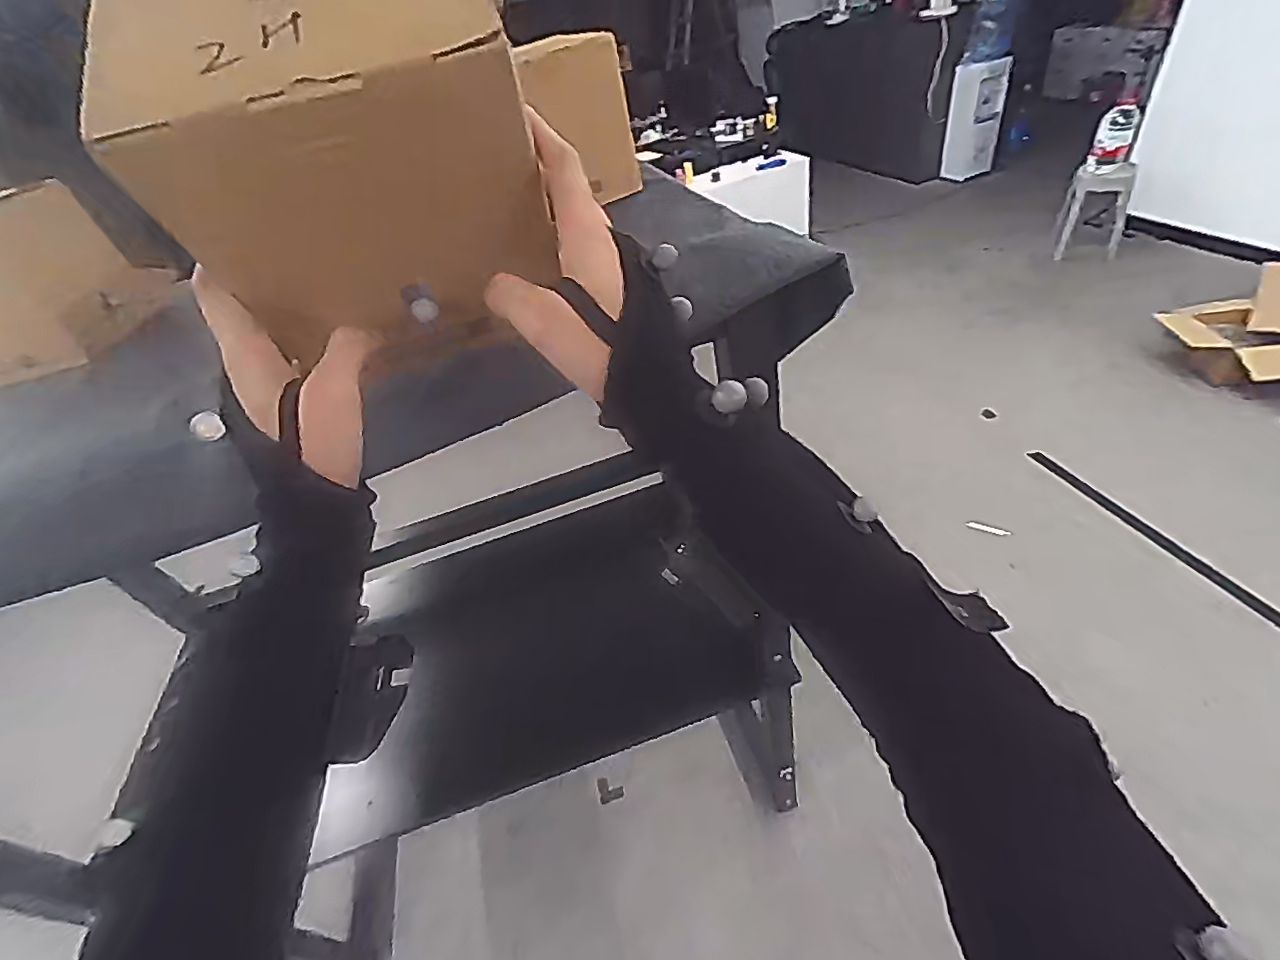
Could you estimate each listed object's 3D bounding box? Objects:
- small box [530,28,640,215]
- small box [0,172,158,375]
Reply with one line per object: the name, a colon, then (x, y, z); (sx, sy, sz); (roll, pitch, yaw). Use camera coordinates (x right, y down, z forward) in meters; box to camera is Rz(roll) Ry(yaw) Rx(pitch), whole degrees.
small box: (-0.119, -0.454, 0.698); (0.168, 0.176, 0.179); (-27, 44, -12)
small box: (-0.745, -0.244, 0.649); (0.168, 0.176, 0.179); (-15, 41, -1)
